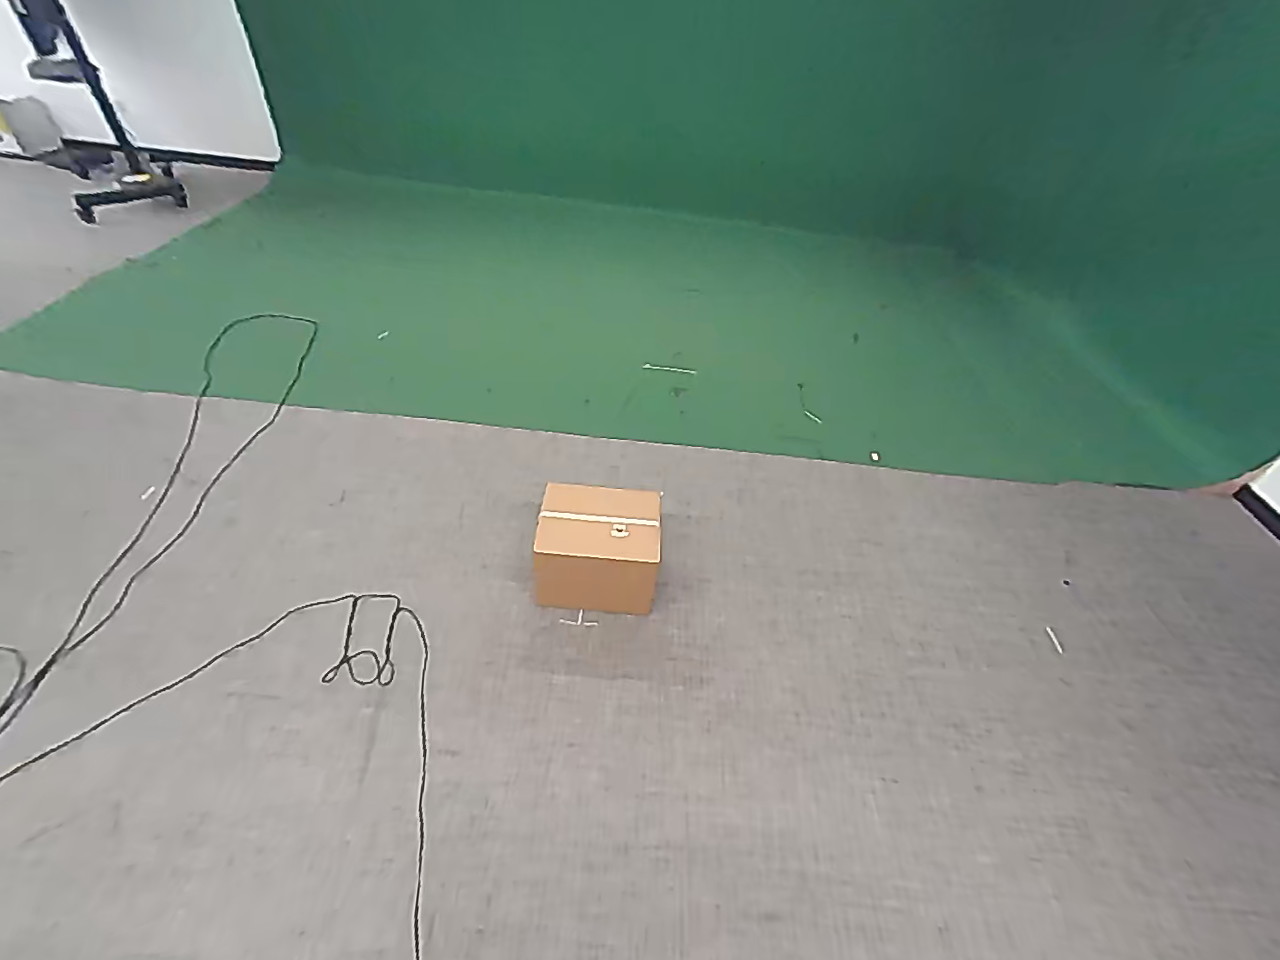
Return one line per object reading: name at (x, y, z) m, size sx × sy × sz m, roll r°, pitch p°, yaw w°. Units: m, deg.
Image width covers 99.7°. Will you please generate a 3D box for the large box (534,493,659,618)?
large box at (-0.154, 0.270, 1.919) m, size 0.408 × 0.320 × 0.320 m, roll 5°, pitch 43°, yaw -3°
